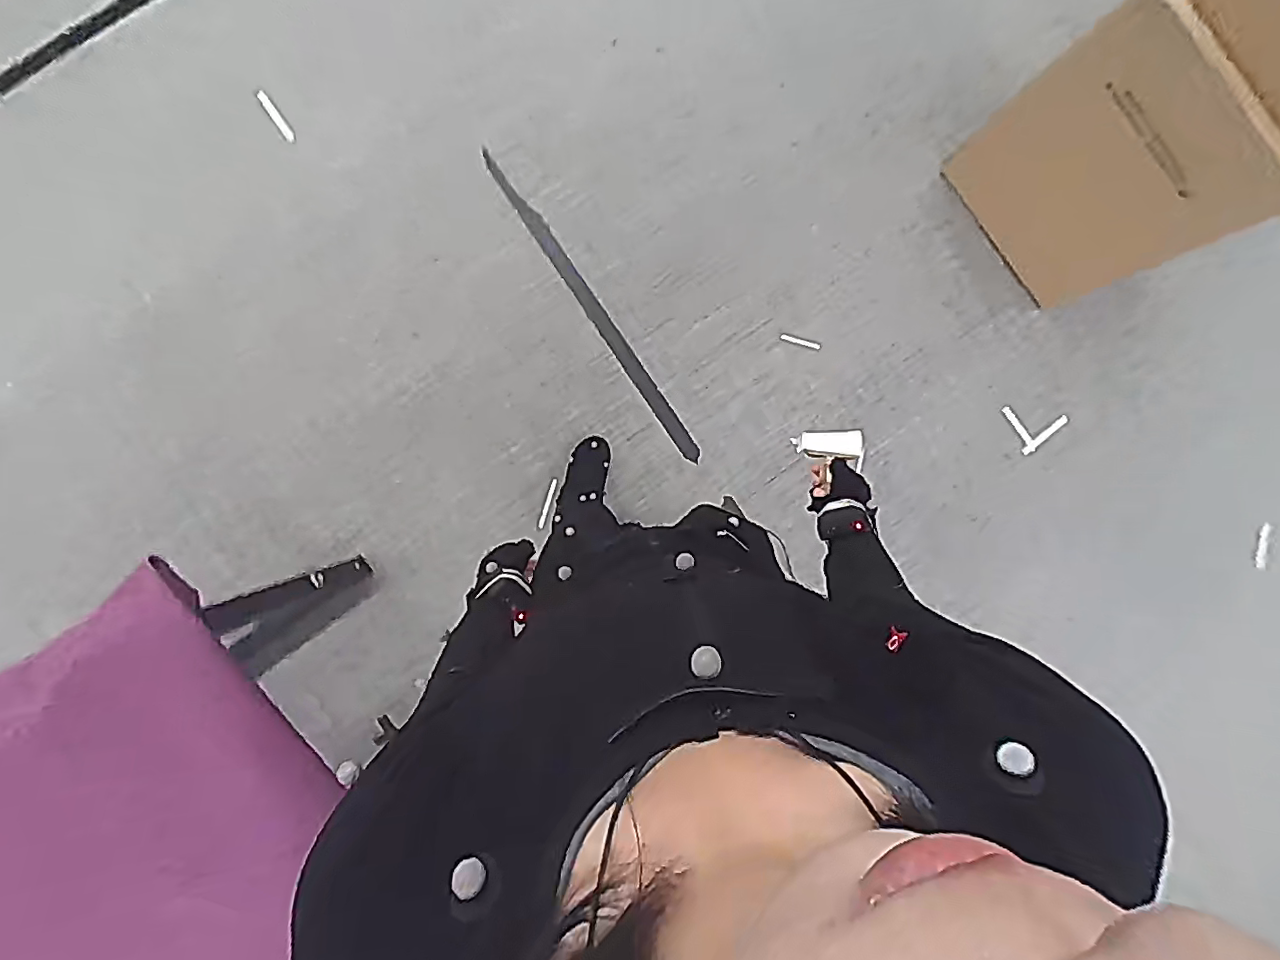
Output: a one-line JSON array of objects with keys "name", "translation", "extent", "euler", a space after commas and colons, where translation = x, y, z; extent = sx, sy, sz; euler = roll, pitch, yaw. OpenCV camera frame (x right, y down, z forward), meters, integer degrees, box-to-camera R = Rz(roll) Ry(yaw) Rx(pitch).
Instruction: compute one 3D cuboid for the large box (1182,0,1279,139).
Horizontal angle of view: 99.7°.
[{"name": "large box", "translation": [1.248, -0.840, 0.876], "extent": [0.320, 0.320, 0.408], "euler": [-38, 93, -3]}]
